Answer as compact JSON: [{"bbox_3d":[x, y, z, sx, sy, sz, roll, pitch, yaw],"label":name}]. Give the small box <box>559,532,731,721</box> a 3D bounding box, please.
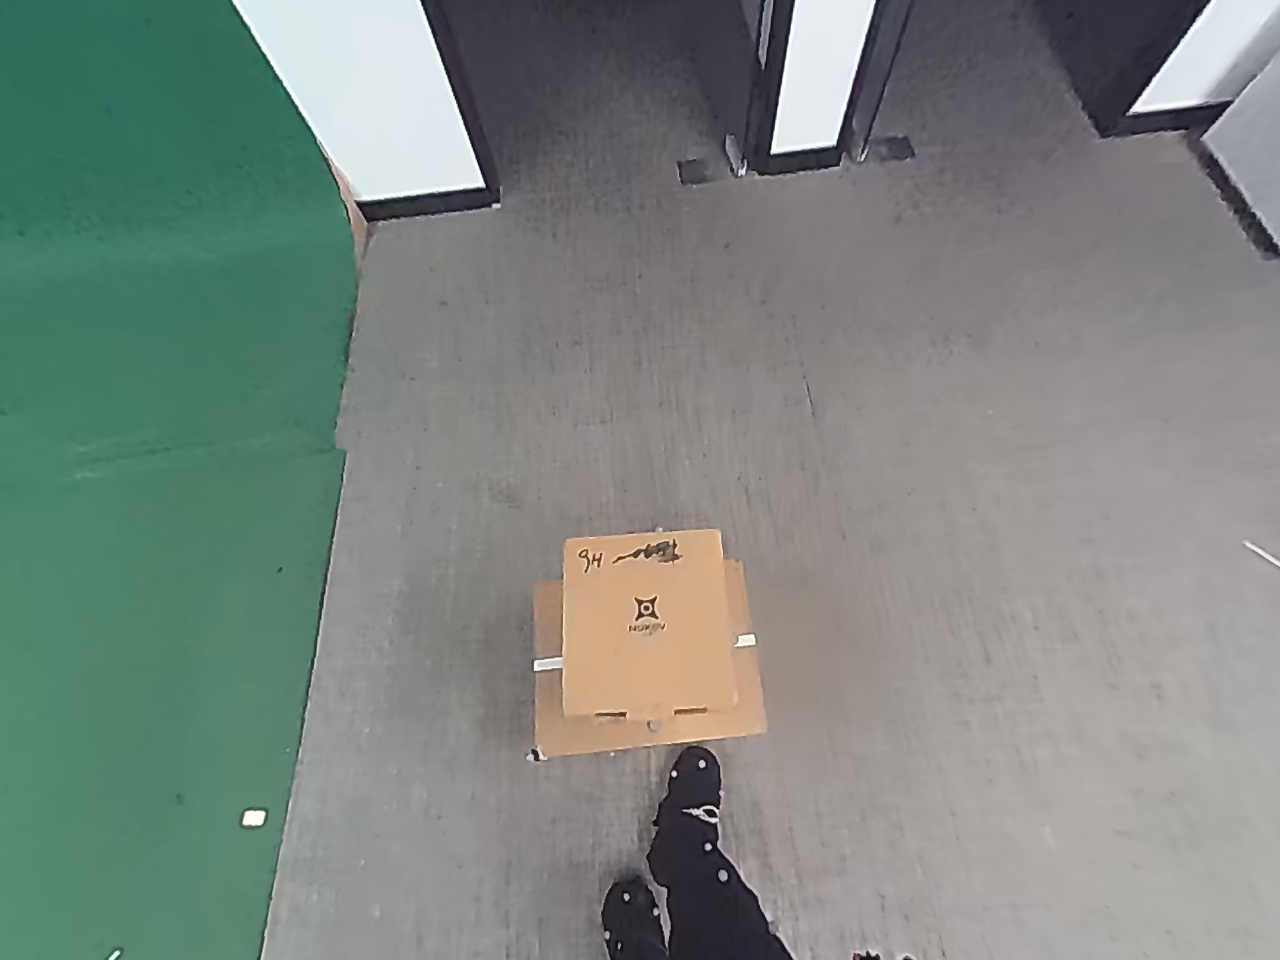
[{"bbox_3d":[0.009,0.168,0.605,0.168,0.176,0.179,-4,67,3],"label":"small box"}]
